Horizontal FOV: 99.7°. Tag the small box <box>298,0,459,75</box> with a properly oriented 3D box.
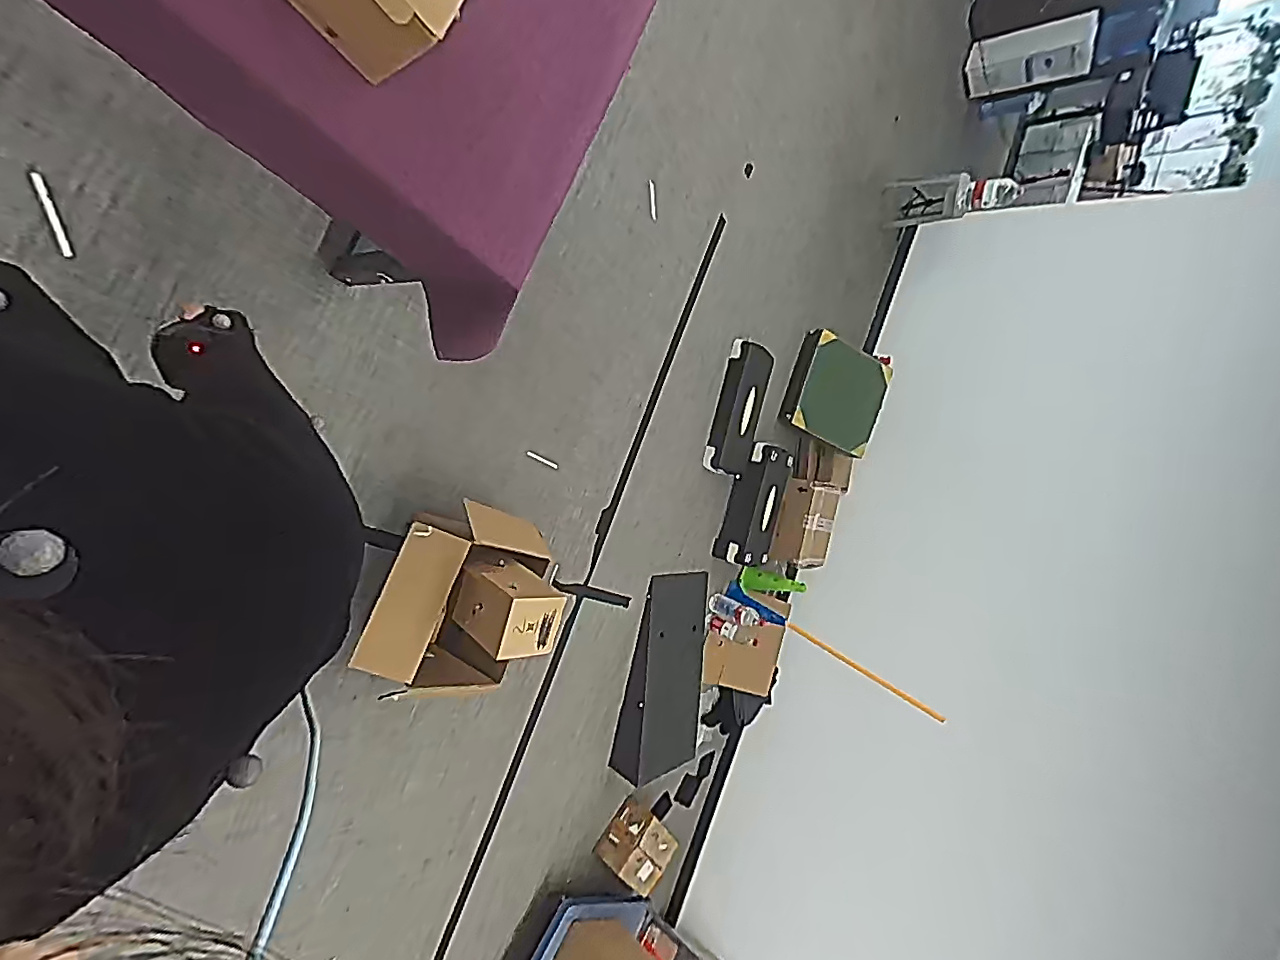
[{"bbox_3d":[-0.289,-0.589,0.580,0.168,0.176,0.179,34,75,-49],"label":"small box"}]

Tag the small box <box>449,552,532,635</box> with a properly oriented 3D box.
[{"bbox_3d":[-0.436,0.317,1.565,0.168,0.176,0.179,-3,109,-46],"label":"small box"}]
